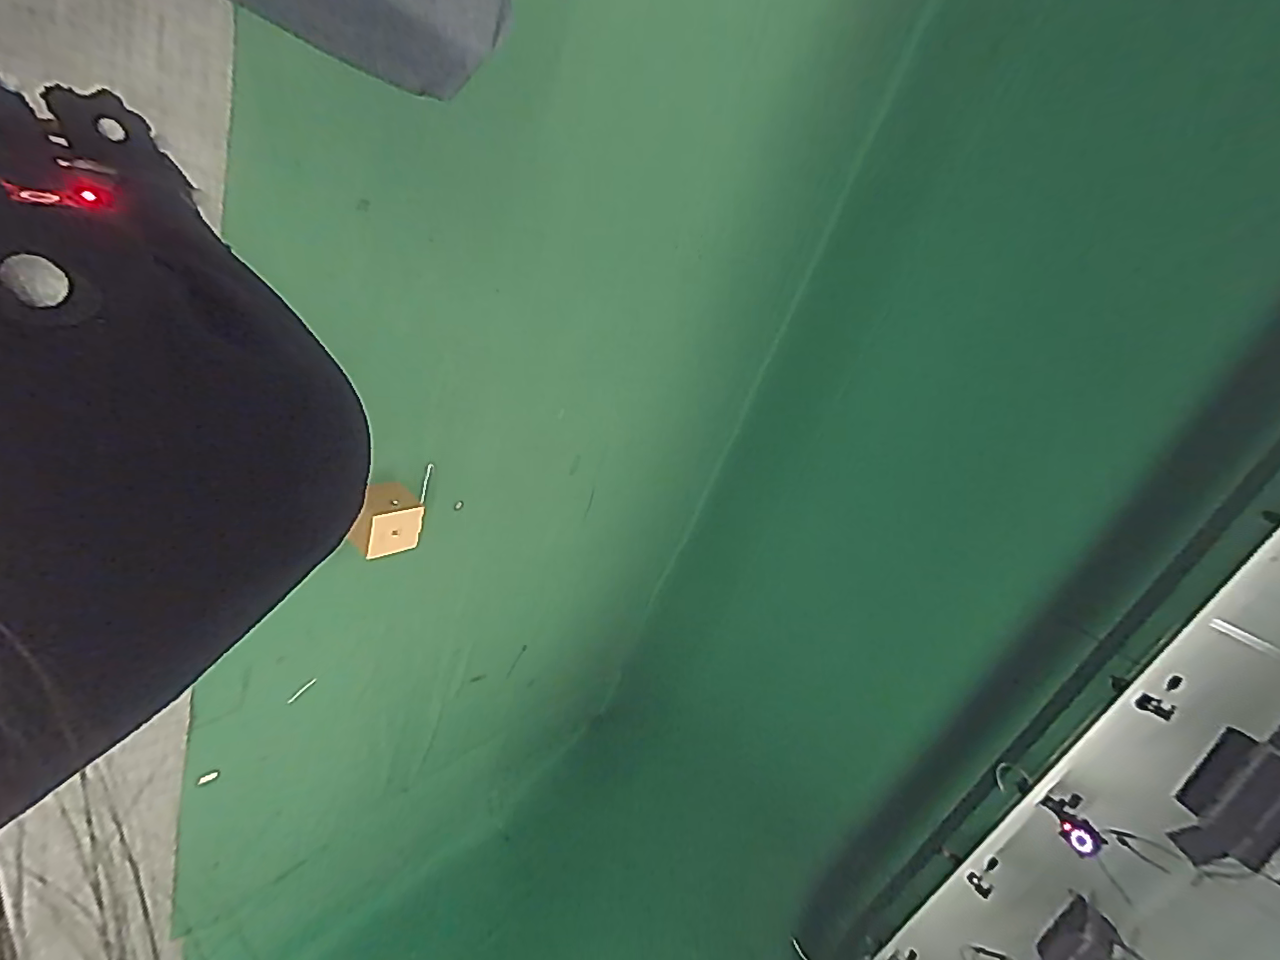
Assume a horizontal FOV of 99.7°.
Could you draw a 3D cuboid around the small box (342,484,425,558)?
[{"bbox_3d":[-0.838,0.126,1.766,0.179,0.176,0.168,-13,129,-52],"label":"small box"}]
